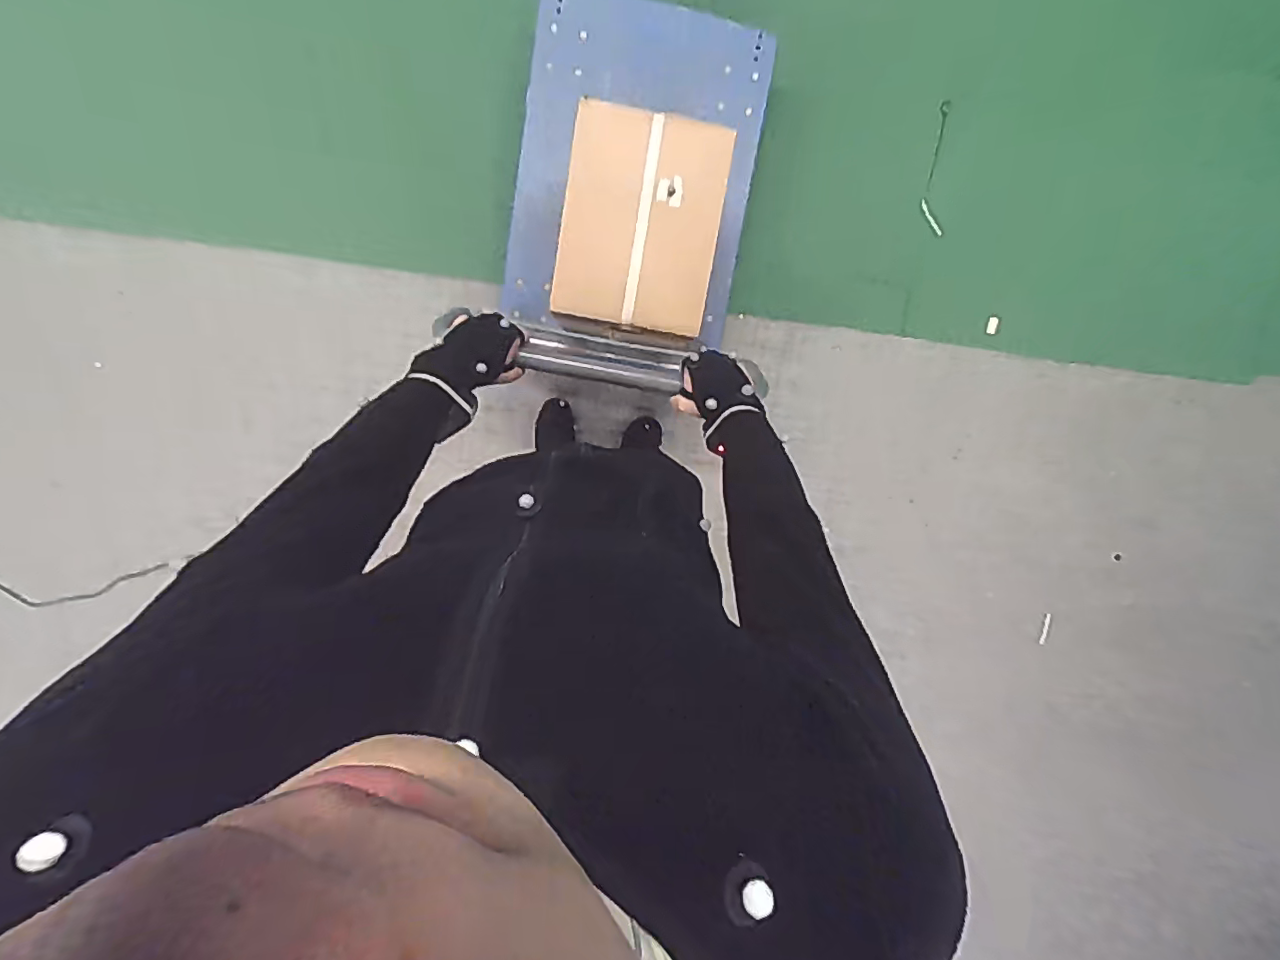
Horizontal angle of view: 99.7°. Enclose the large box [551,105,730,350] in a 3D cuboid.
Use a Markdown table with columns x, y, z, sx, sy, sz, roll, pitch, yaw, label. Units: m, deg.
| x | y | z | sx | sy | sz | roll | pitch | yaw | label |
| --- | --- | --- | --- | --- | --- | --- | --- | --- | --- |
| -0.009 | -0.530 | 1.227 | 0.320 | 0.320 | 0.408 | 9 | 98 | -6 | large box |
